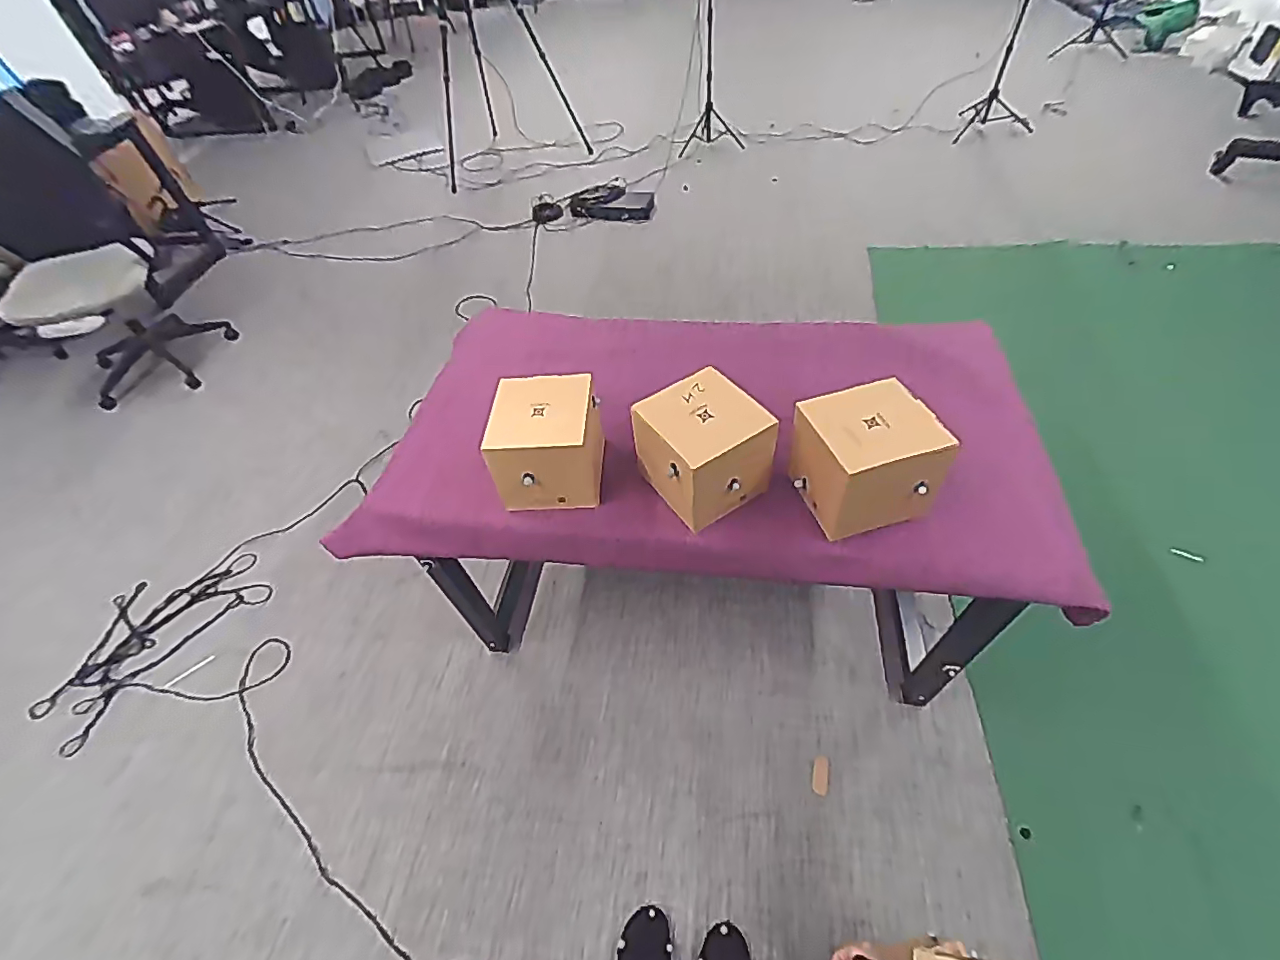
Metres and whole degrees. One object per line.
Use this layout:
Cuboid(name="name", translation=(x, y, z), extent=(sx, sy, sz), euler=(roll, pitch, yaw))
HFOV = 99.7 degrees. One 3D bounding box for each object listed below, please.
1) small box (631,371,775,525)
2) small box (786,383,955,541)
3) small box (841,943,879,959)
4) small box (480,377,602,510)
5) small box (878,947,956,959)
Cuboid(name="small box", translation=(0.103, -0.047, 0.916), extent=(0.168, 0.176, 0.179), euler=(-28, 53, -18))
Cuboid(name="small box", translation=(0.356, -0.027, 0.874), extent=(0.179, 0.176, 0.168), euler=(-15, 48, -6))
Cuboid(name="small box", translation=(0.460, 0.979, 0.983), extent=(0.179, 0.176, 0.168), euler=(11, 53, 15))
Cuboid(name="small box", translation=(-0.162, -0.059, 0.956), extent=(0.168, 0.176, 0.179), euler=(-2, 49, 4))
Cuboid(name="small box", translation=(0.435, 0.766, 0.734), extent=(0.168, 0.176, 0.179), euler=(5, 53, 10))
